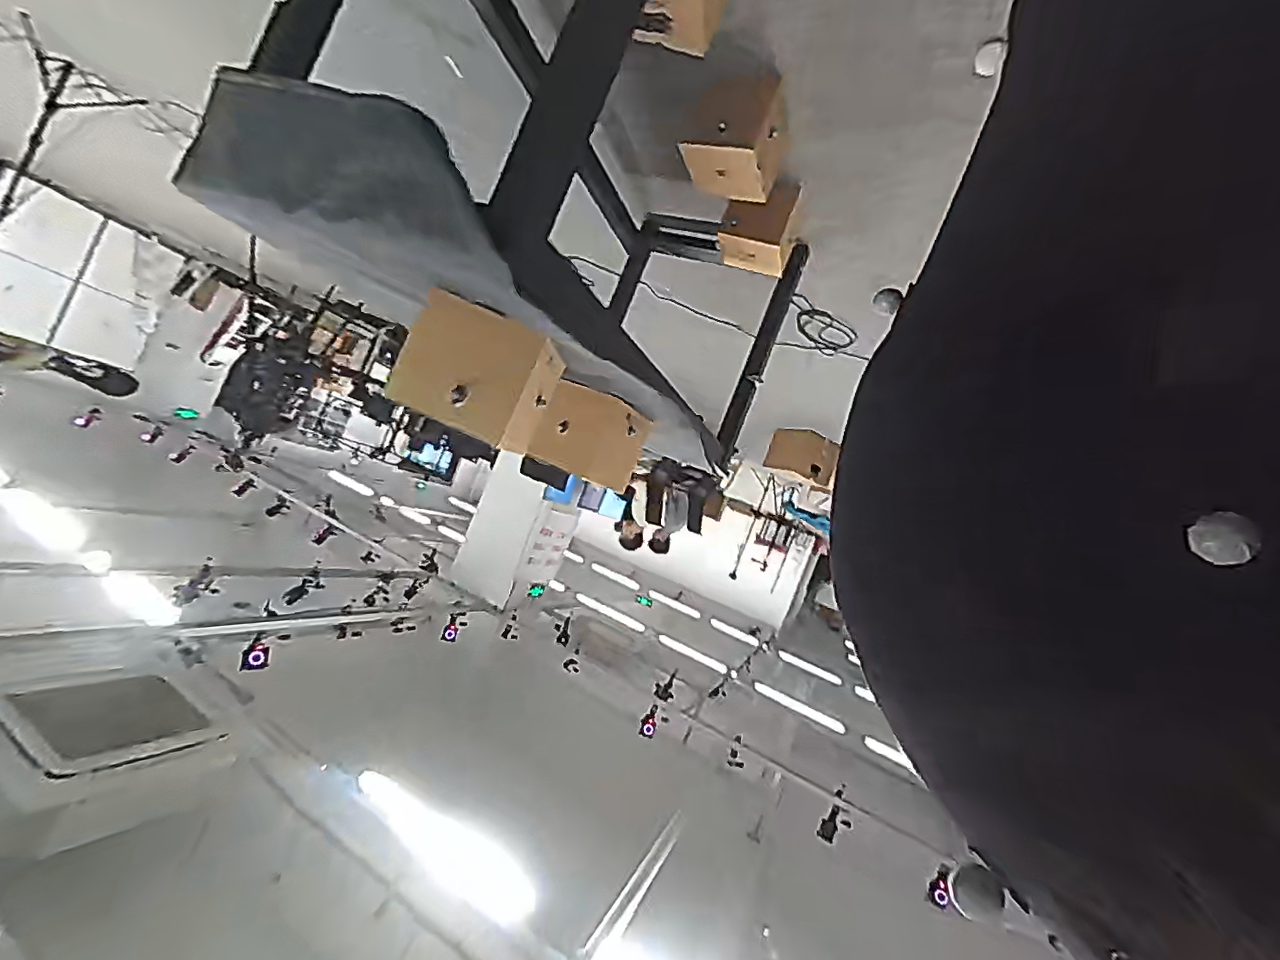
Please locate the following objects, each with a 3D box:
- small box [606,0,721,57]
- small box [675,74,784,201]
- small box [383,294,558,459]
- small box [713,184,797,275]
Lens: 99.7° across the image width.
[{"bbox_3d":[0.047,-0.820,0.834,0.168,0.176,0.179,21,176,8],"label":"small box"},{"bbox_3d":[0.204,-0.746,1.181,0.179,0.176,0.168,22,178,24],"label":"small box"},{"bbox_3d":[-0.233,-0.145,0.796,0.179,0.176,0.168,24,178,1],"label":"small box"},{"bbox_3d":[0.319,-0.691,1.473,0.179,0.176,0.168,21,178,17],"label":"small box"}]
